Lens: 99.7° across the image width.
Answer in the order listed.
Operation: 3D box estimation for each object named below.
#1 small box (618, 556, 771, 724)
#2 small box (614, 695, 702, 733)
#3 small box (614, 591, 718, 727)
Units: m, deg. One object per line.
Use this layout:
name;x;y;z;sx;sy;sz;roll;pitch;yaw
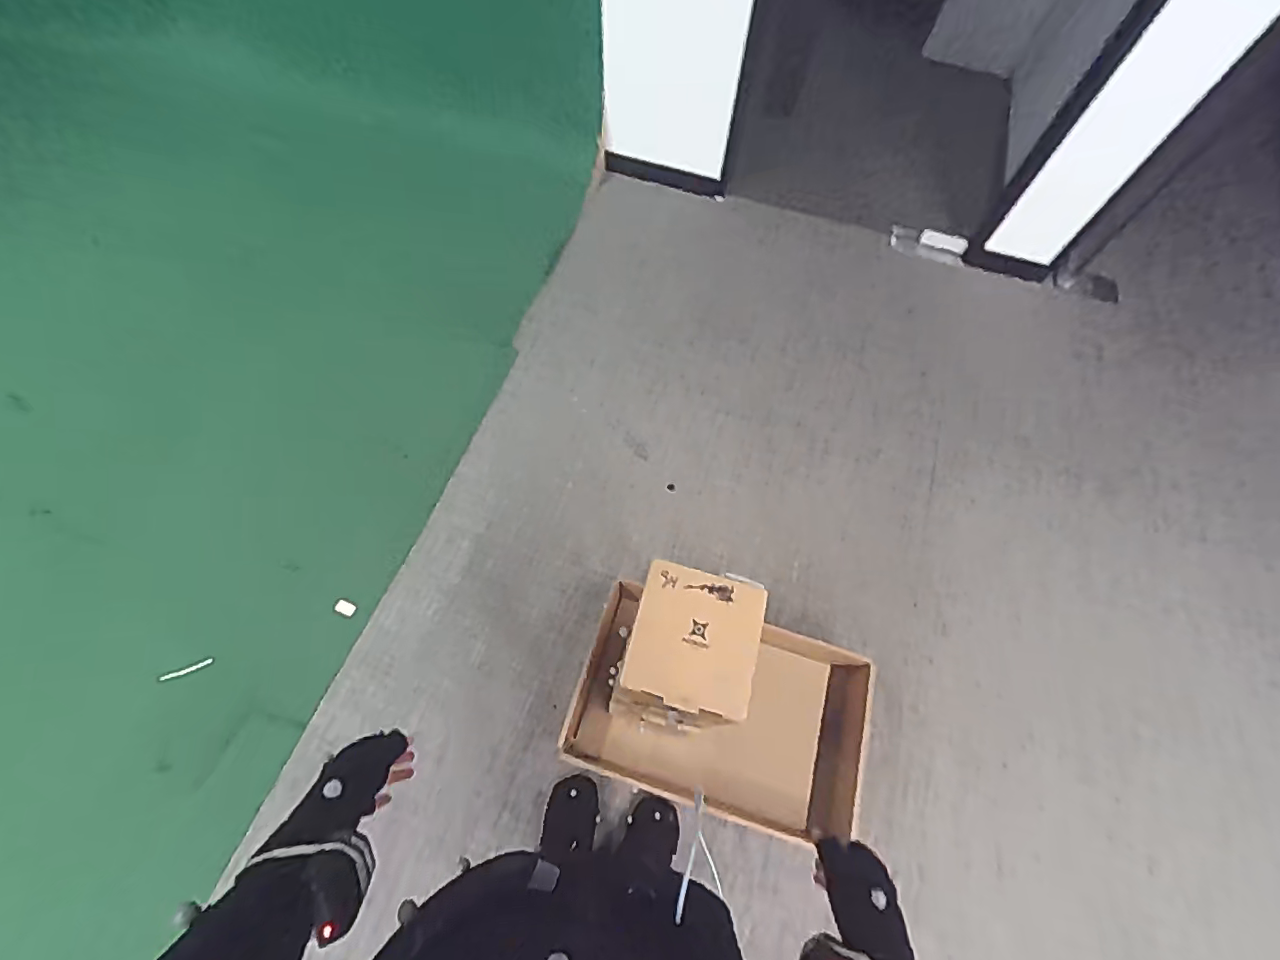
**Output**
small box;0.071;0.233;0.772;0.168;0.176;0.179;17;66;3
small box;0.050;0.380;1.064;0.168;0.176;0.179;18;65;5
small box;0.058;0.305;0.919;0.168;0.176;0.179;17;65;3
